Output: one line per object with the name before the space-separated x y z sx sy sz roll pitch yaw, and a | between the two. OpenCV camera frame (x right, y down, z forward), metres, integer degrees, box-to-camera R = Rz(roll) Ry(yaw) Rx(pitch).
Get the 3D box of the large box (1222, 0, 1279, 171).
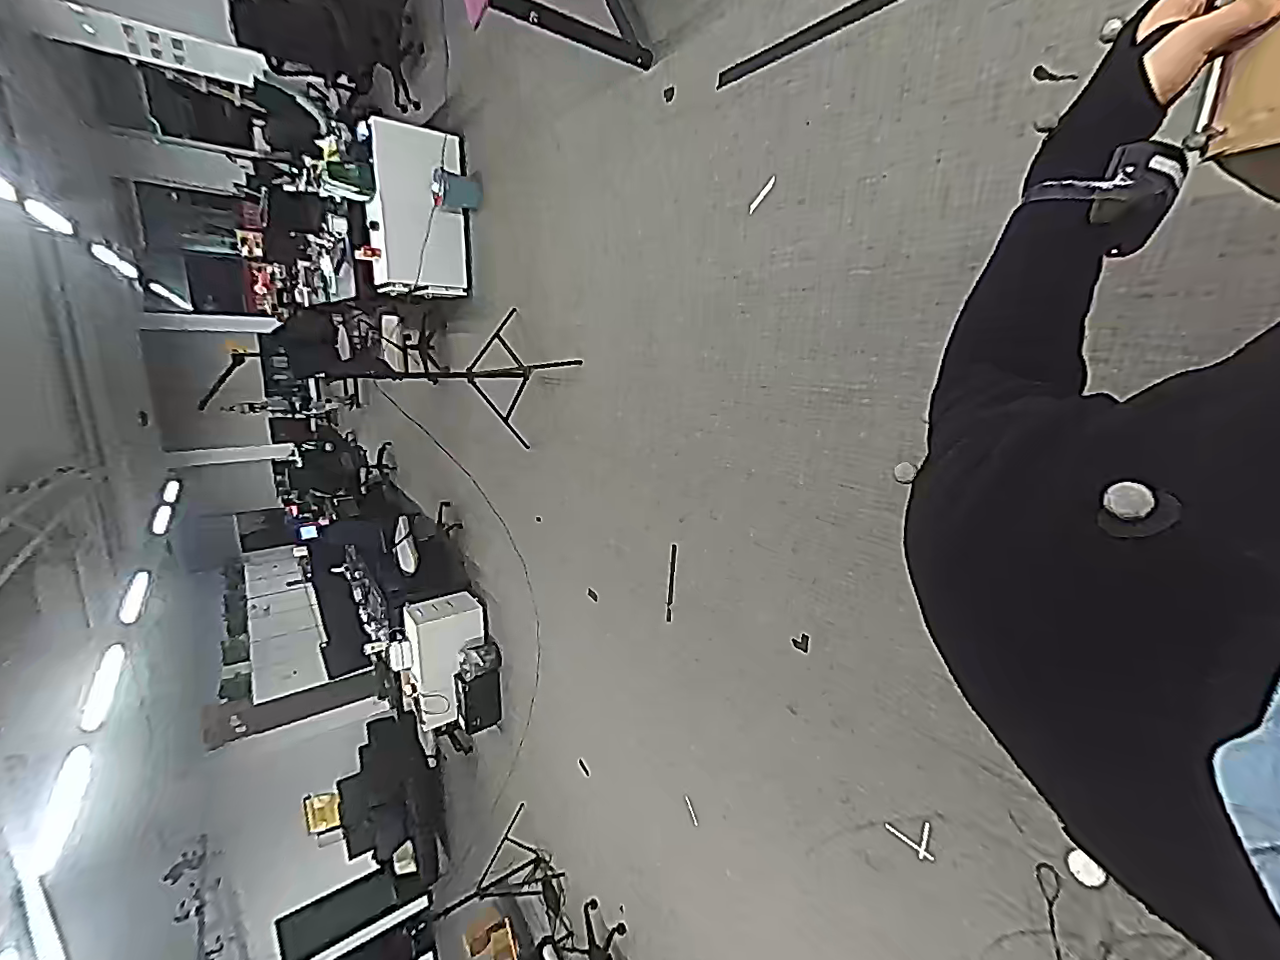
large box | 0.648 -0.380 0.270 0.408 0.320 0.320 18 113 56
